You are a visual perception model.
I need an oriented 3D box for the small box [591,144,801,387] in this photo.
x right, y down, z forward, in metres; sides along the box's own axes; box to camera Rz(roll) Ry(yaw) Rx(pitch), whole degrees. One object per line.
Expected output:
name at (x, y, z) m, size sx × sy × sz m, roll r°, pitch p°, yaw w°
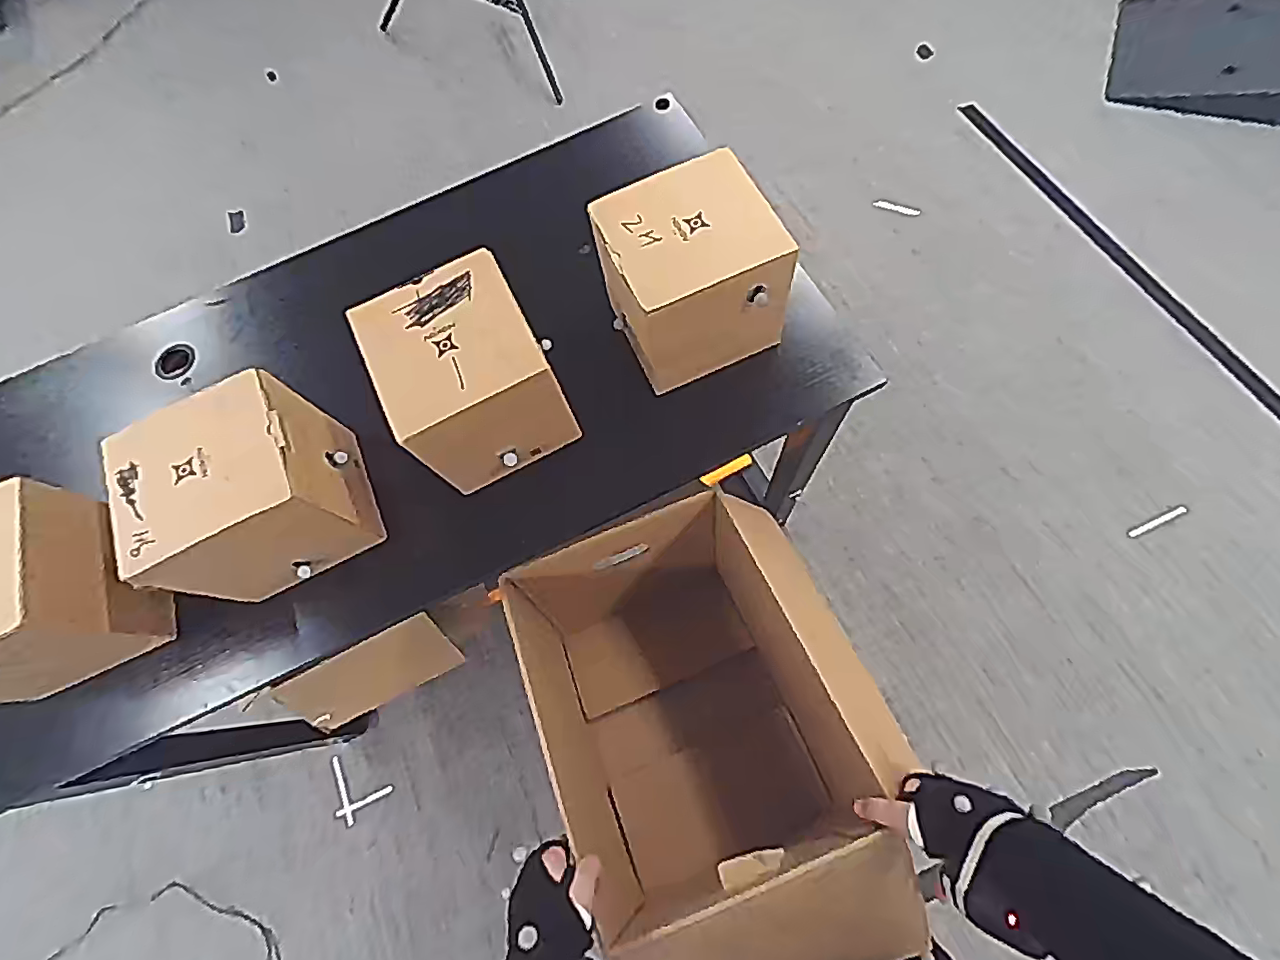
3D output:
small box at (0.062, -0.241, 0.639) m, size 0.179 × 0.176 × 0.168 m, roll -24°, pitch 69°, yaw -2°

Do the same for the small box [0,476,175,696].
small box at (-0.665, 0.124, 0.585) m, size 0.179 × 0.176 × 0.168 m, roll -24°, pitch 70°, yaw -4°

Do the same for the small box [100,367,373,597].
small box at (-0.427, 0.012, 0.602) m, size 0.179 × 0.176 × 0.168 m, roll -27°, pitch 70°, yaw -5°

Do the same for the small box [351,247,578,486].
small box at (-0.190, -0.120, 0.624) m, size 0.168 × 0.176 × 0.179 m, roll -27°, pitch 71°, yaw -4°
